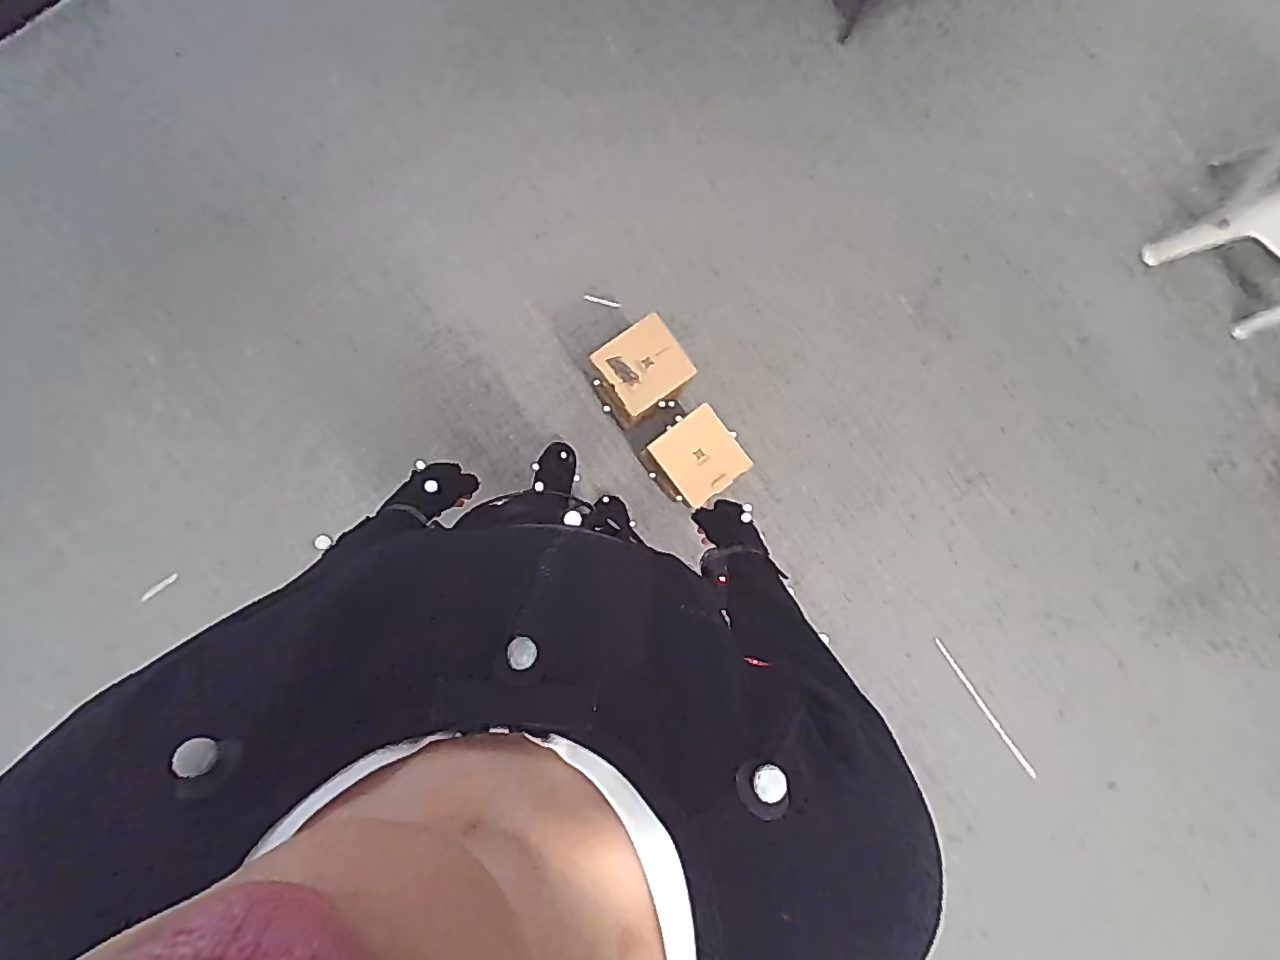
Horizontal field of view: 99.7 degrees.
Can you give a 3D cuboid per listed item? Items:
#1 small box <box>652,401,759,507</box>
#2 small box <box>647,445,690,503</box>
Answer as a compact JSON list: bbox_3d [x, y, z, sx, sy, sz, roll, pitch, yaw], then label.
[{"bbox_3d":[0.141,-0.056,1.244,0.168,0.176,0.179,-38,92,-1],"label":"small box"},{"bbox_3d":[0.130,-0.058,1.408,0.179,0.176,0.168,-37,91,-1],"label":"small box"}]
